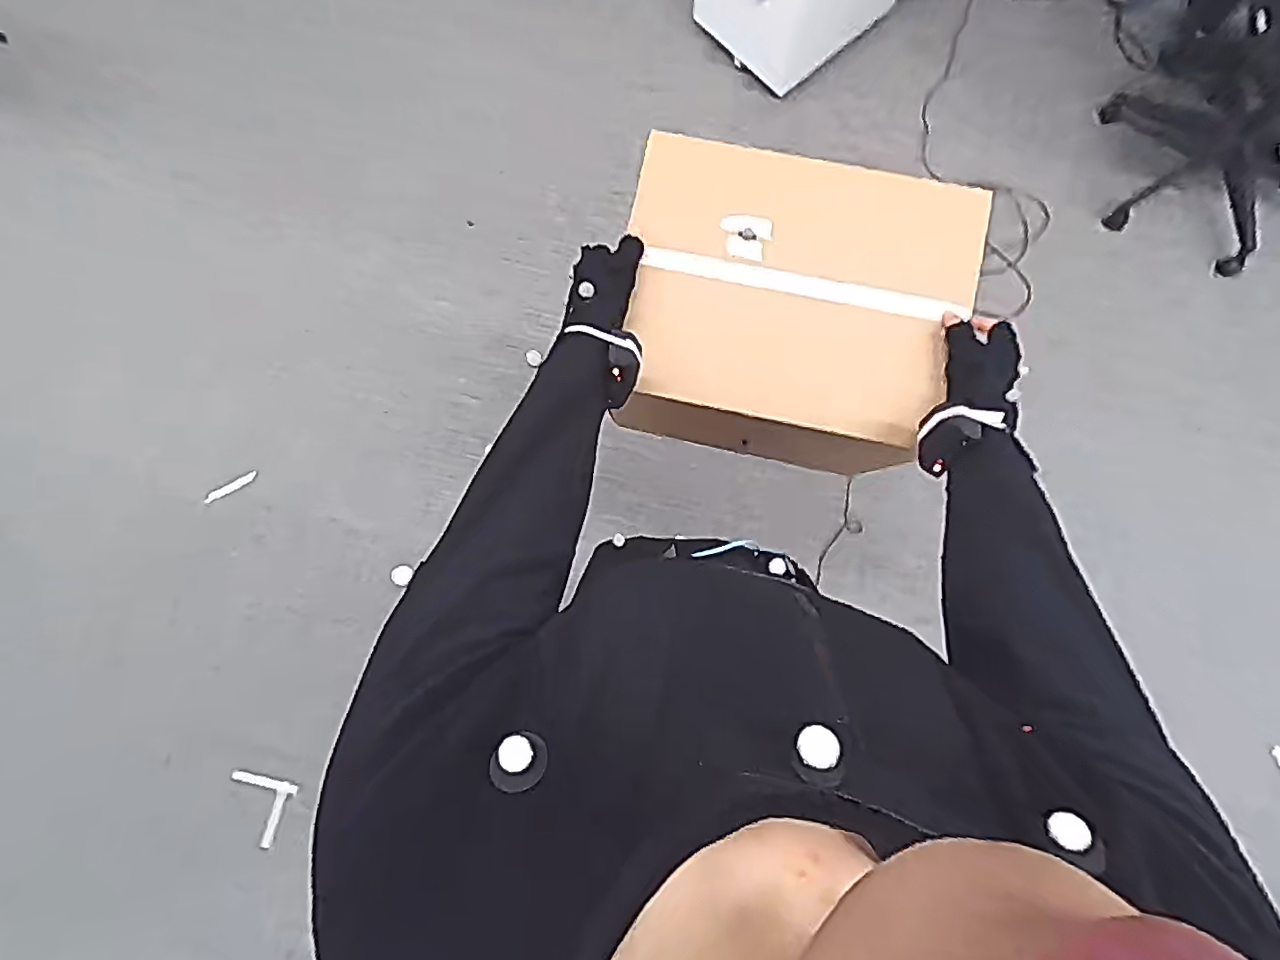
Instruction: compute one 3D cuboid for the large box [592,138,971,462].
[{"bbox_3d":[0.174,-0.220,0.782,0.408,0.320,0.320,12,86,3],"label":"large box"}]
